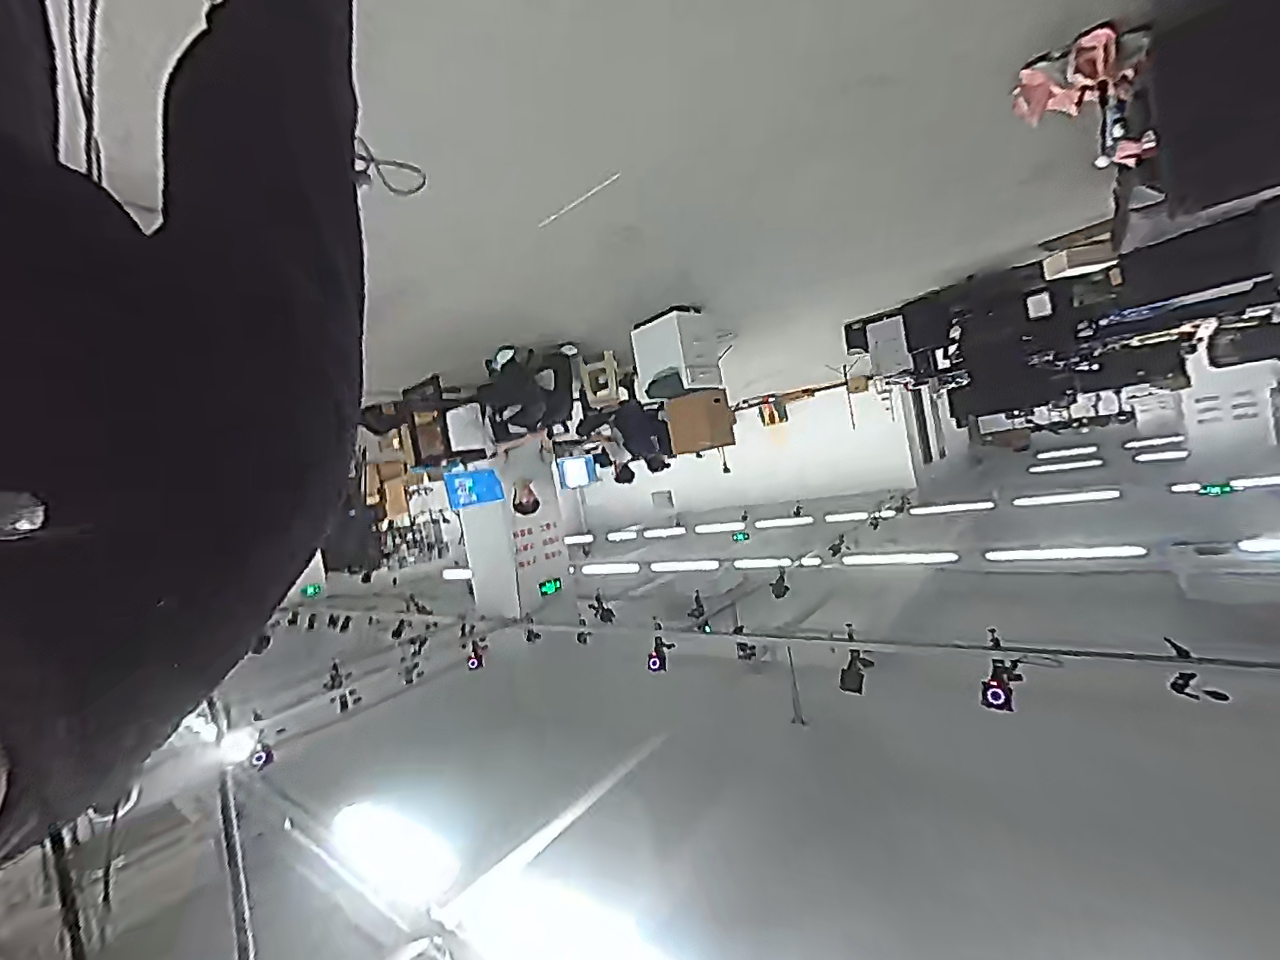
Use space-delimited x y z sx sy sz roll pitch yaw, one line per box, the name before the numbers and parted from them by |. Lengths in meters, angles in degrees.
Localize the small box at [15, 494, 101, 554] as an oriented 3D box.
small box | -1.891 0.139 1.754 0.179 0.176 0.168 -8 -179 39
